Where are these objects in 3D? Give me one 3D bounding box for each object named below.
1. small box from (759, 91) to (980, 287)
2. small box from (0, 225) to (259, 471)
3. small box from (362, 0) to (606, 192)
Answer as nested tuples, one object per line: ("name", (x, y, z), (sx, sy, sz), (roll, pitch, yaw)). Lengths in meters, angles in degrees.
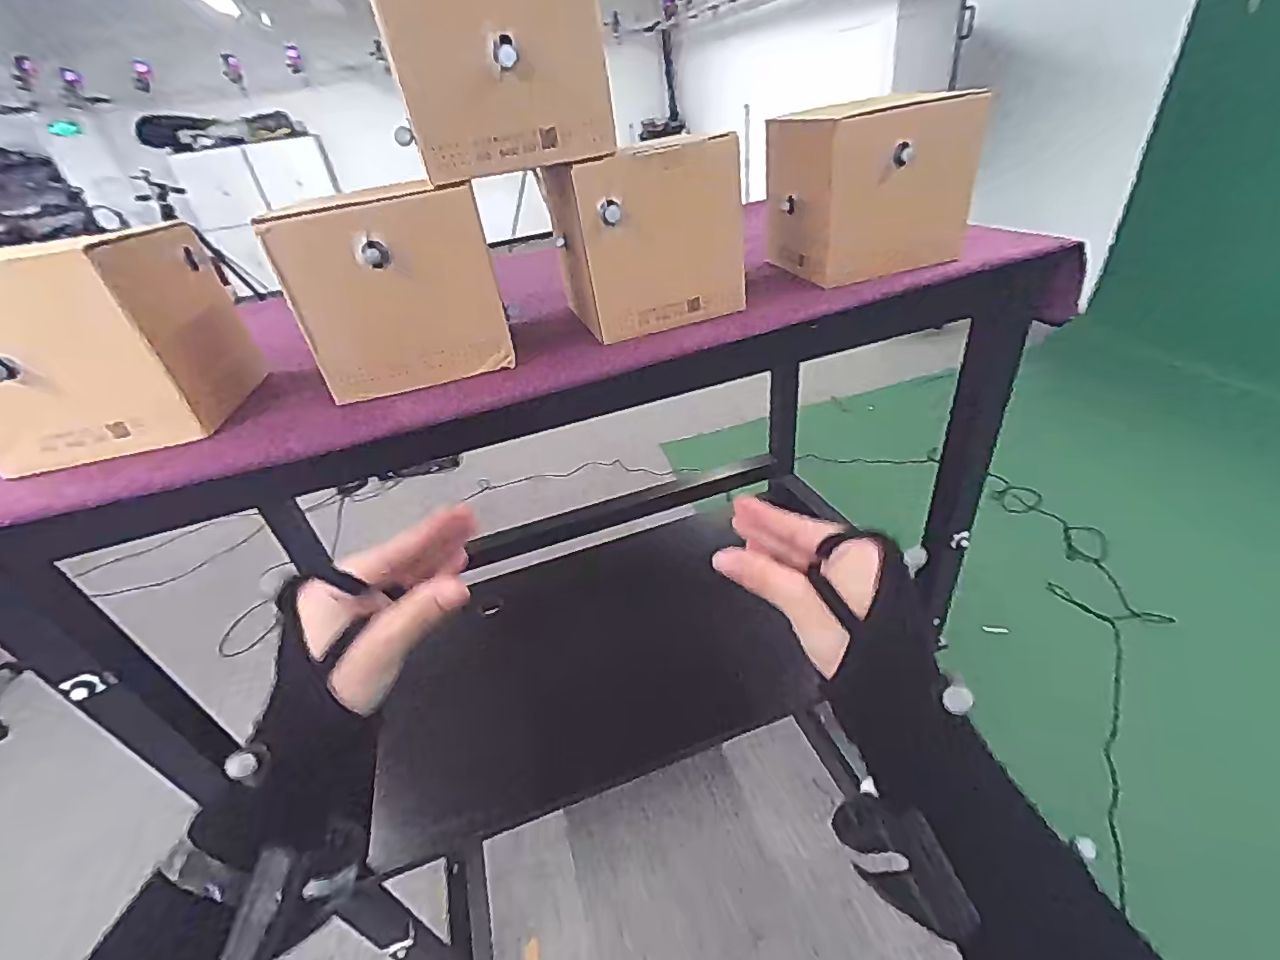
("small box", (0.256, -0.343, 0.644), (0.179, 0.176, 0.168), (-15, 36, -7))
("small box", (-0.500, -0.122, 0.502), (0.168, 0.176, 0.179), (-14, 33, -8))
("small box", (-0.139, -0.367, 0.484), (0.168, 0.176, 0.179), (-18, 35, -13))
